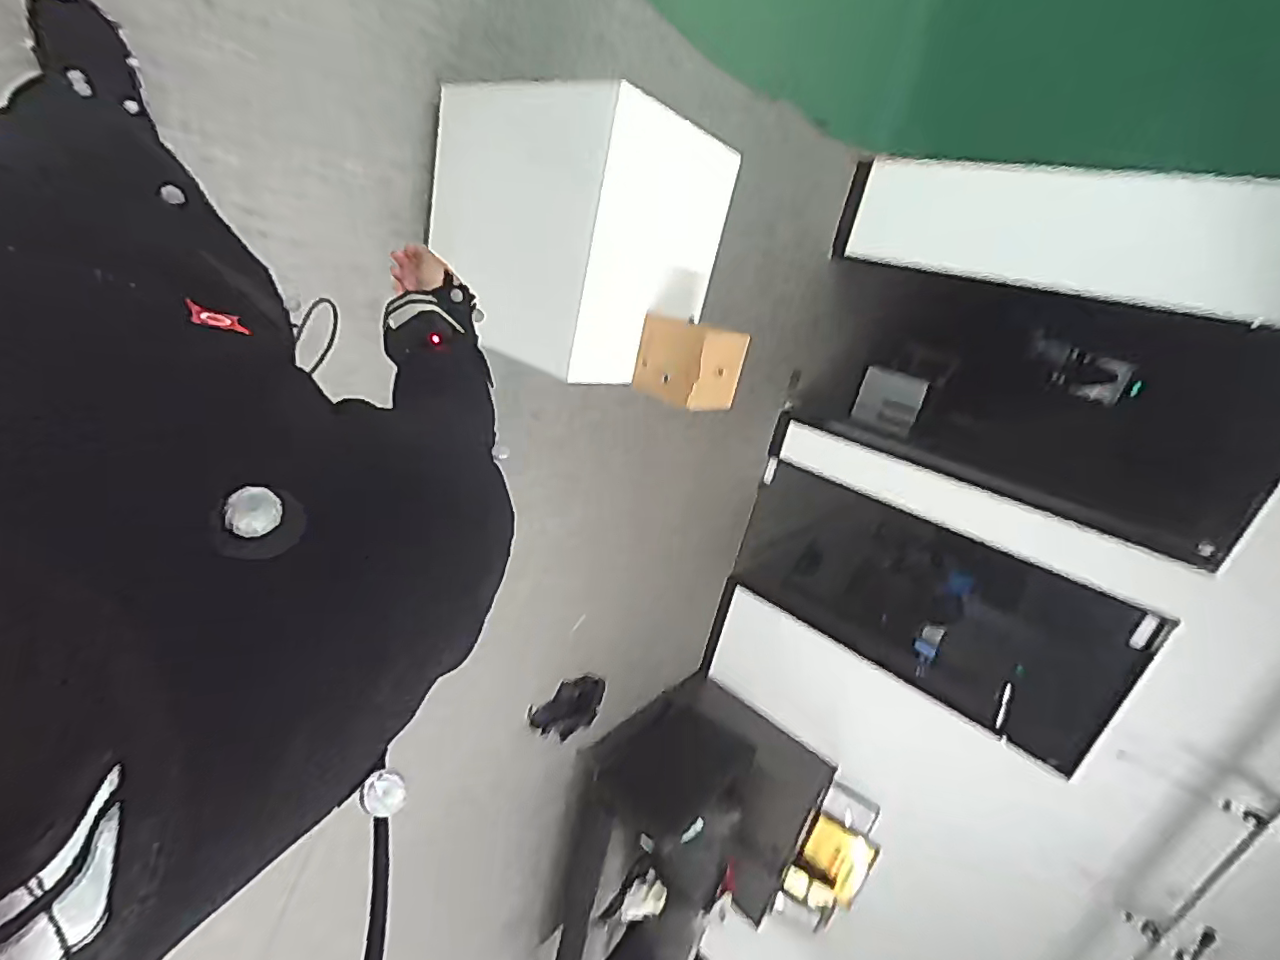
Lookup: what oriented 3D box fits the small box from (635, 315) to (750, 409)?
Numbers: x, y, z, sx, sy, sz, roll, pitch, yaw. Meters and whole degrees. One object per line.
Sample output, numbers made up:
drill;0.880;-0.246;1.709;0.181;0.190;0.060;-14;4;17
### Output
small box;0.112;-0.263;1.201;0.179;0.176;0.168;-14;123;-50
